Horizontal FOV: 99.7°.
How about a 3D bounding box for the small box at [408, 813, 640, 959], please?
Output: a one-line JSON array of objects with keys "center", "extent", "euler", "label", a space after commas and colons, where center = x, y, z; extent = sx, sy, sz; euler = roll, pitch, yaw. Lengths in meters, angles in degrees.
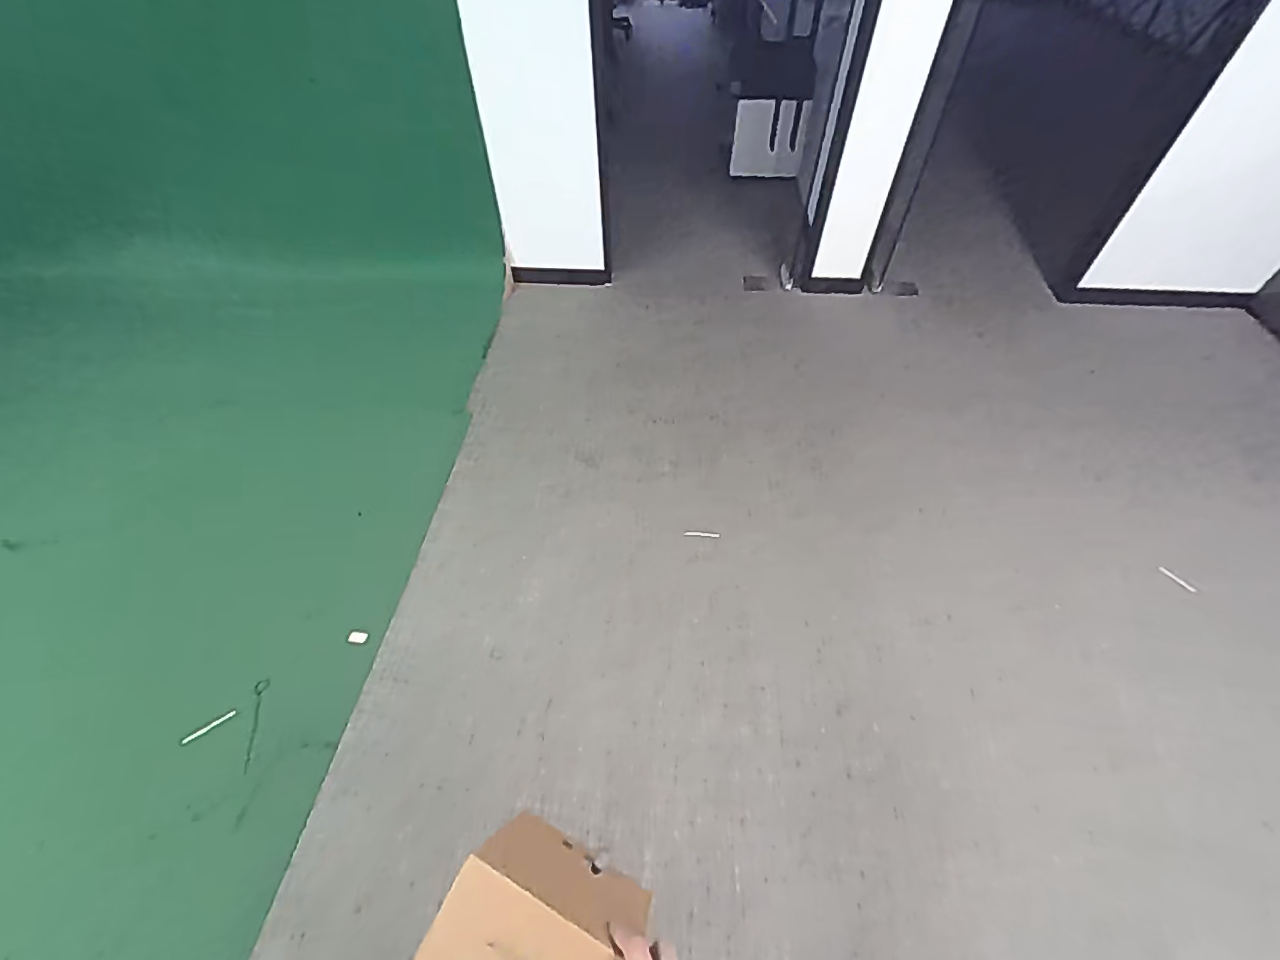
[{"center": [-0.110, 0.454, 0.502], "extent": [0.168, 0.176, 0.179], "euler": [26, 74, 14], "label": "small box"}]
